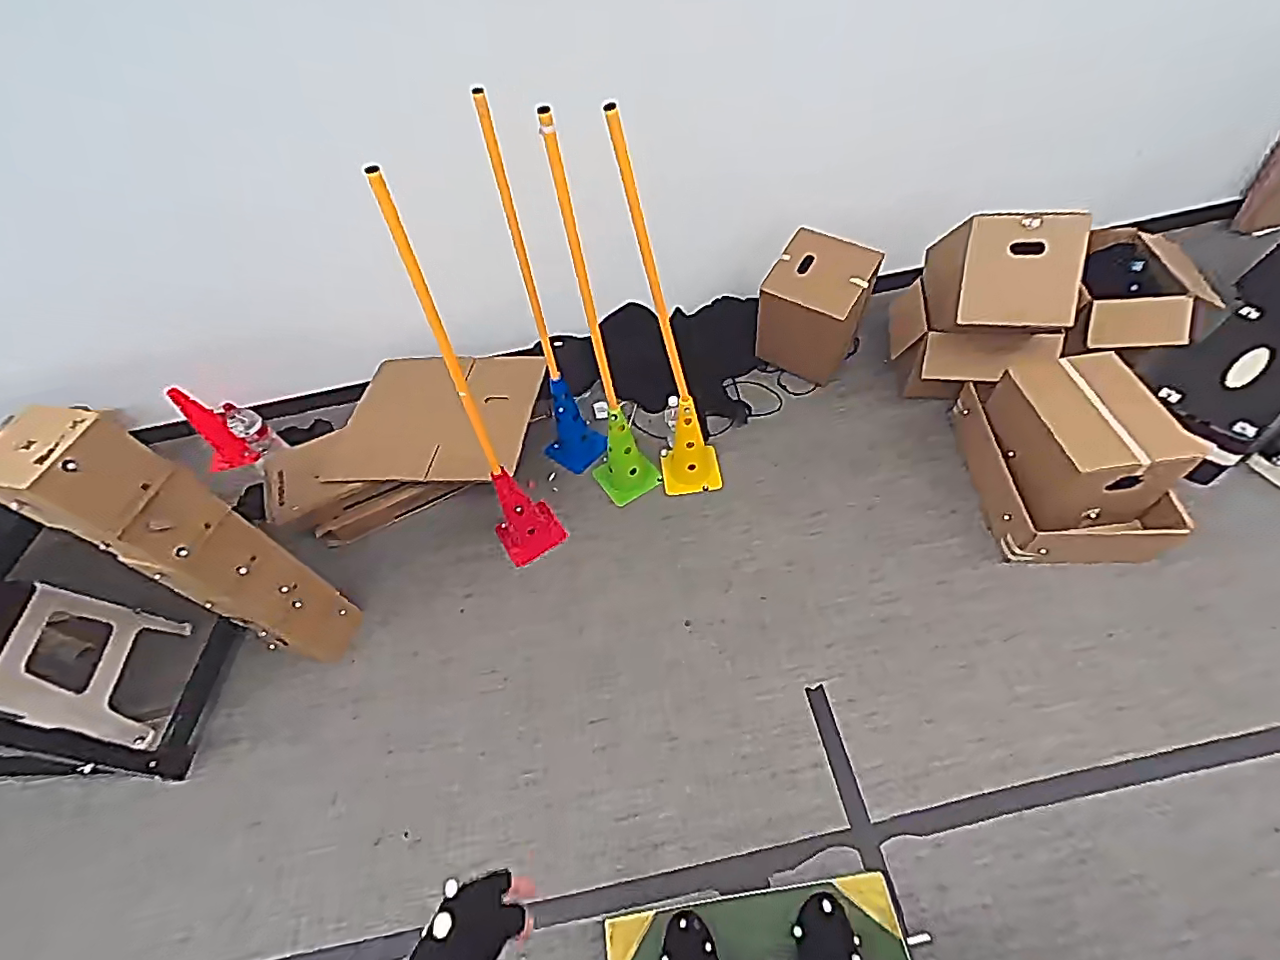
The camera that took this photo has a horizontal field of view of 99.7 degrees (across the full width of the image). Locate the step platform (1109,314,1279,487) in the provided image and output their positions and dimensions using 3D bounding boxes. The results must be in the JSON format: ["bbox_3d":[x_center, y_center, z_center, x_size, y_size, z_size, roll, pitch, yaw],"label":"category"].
[{"bbox_3d":[1.895,-0.278,1.774,0.684,0.204,0.286,-35,57,-17],"label":"step platform"}]
